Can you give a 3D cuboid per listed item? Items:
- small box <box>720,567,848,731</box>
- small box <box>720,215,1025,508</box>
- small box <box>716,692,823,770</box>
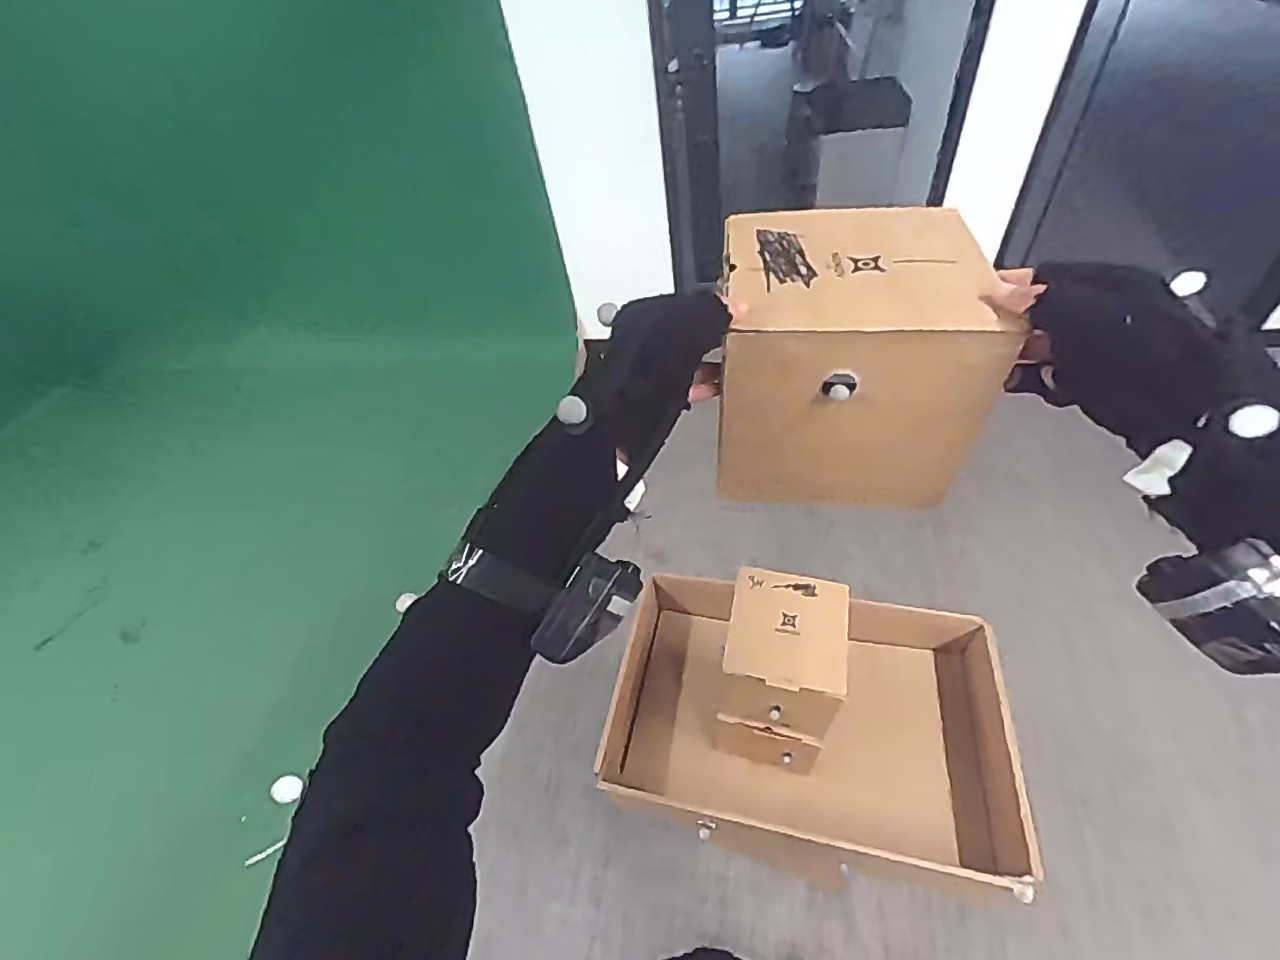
[{"bbox_3d":[0.219,0.263,0.837,0.168,0.176,0.179,9,50,14],"label":"small box"},{"bbox_3d":[0.156,-0.092,0.435,0.179,0.176,0.168,3,49,8],"label":"small box"},{"bbox_3d":[0.230,0.381,0.951,0.168,0.176,0.179,9,47,14],"label":"small box"}]
